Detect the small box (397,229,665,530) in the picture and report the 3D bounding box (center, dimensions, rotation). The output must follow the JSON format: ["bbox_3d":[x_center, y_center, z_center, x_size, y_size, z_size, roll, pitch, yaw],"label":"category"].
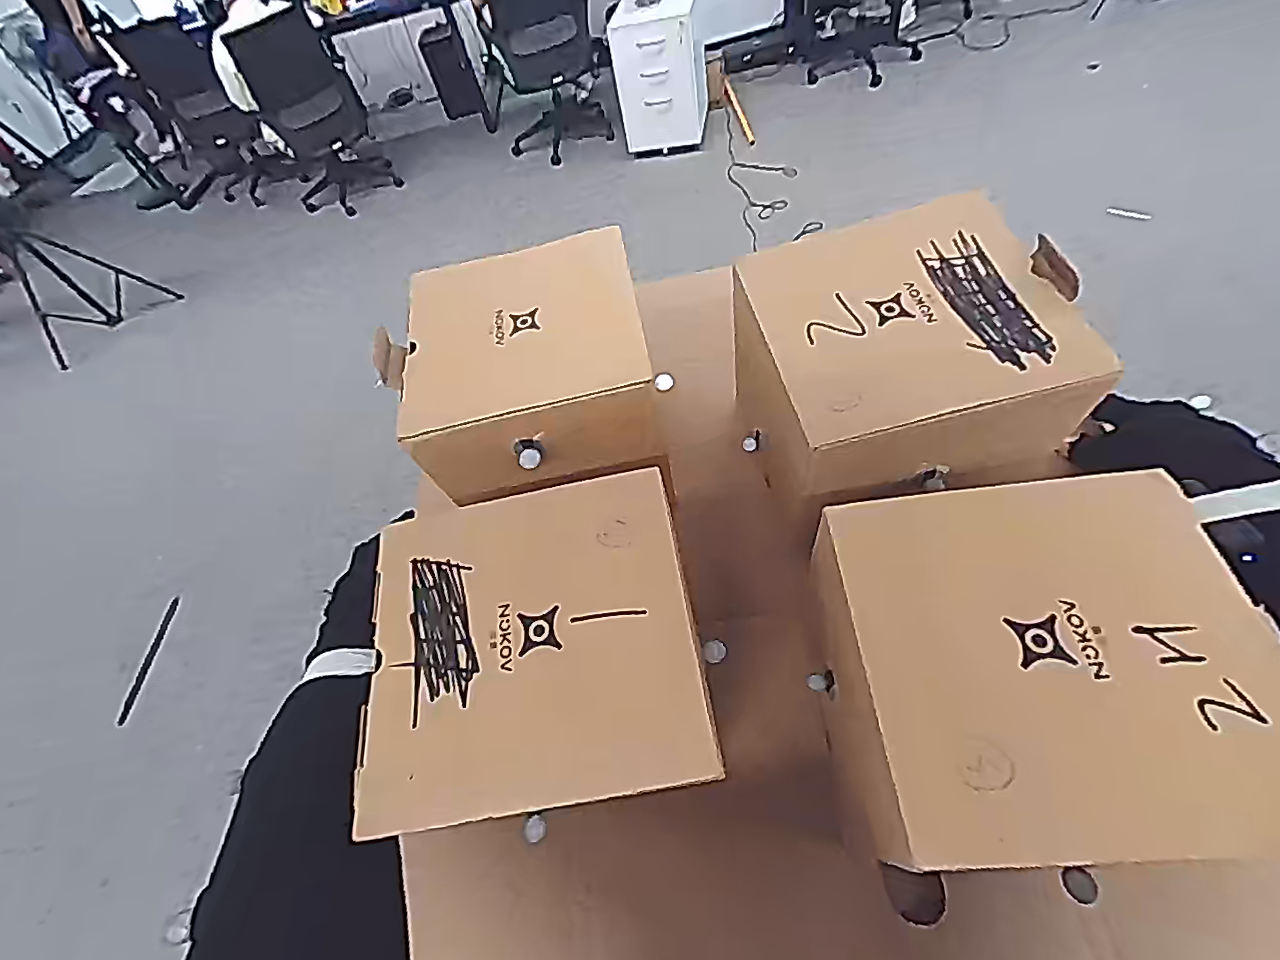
[{"bbox_3d":[-0.079,-0.075,0.467,0.179,0.176,0.168,-13,58,4],"label":"small box"}]
